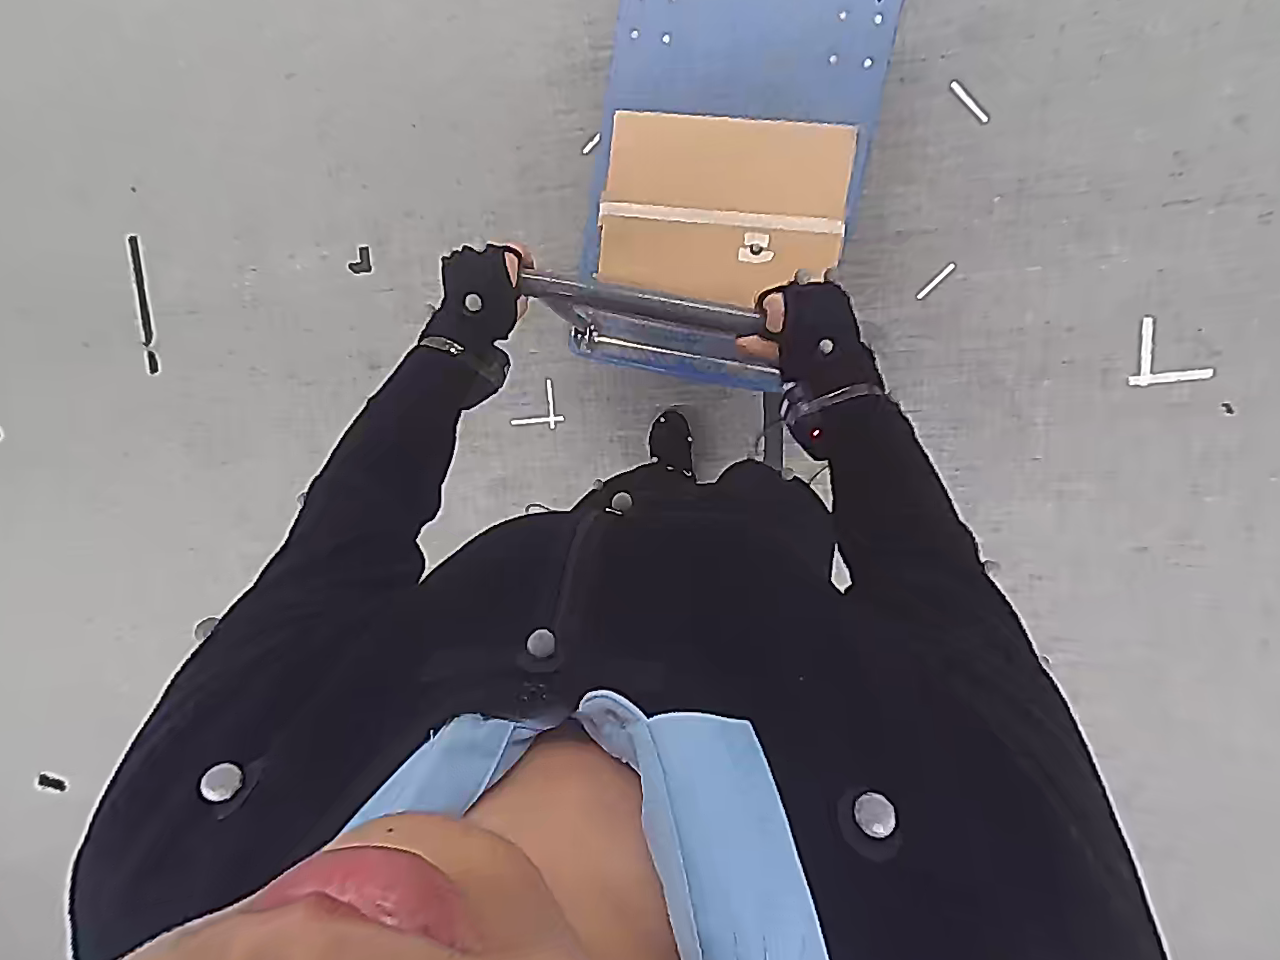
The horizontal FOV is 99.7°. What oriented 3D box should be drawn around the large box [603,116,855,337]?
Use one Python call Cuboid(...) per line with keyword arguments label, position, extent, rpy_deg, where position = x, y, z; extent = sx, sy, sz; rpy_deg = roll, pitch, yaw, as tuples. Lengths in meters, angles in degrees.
Cuboid(label="large box", position=(0.158, -0.473, 1.075), extent=(0.408, 0.320, 0.320), rpy_deg=(8, 100, 5))
